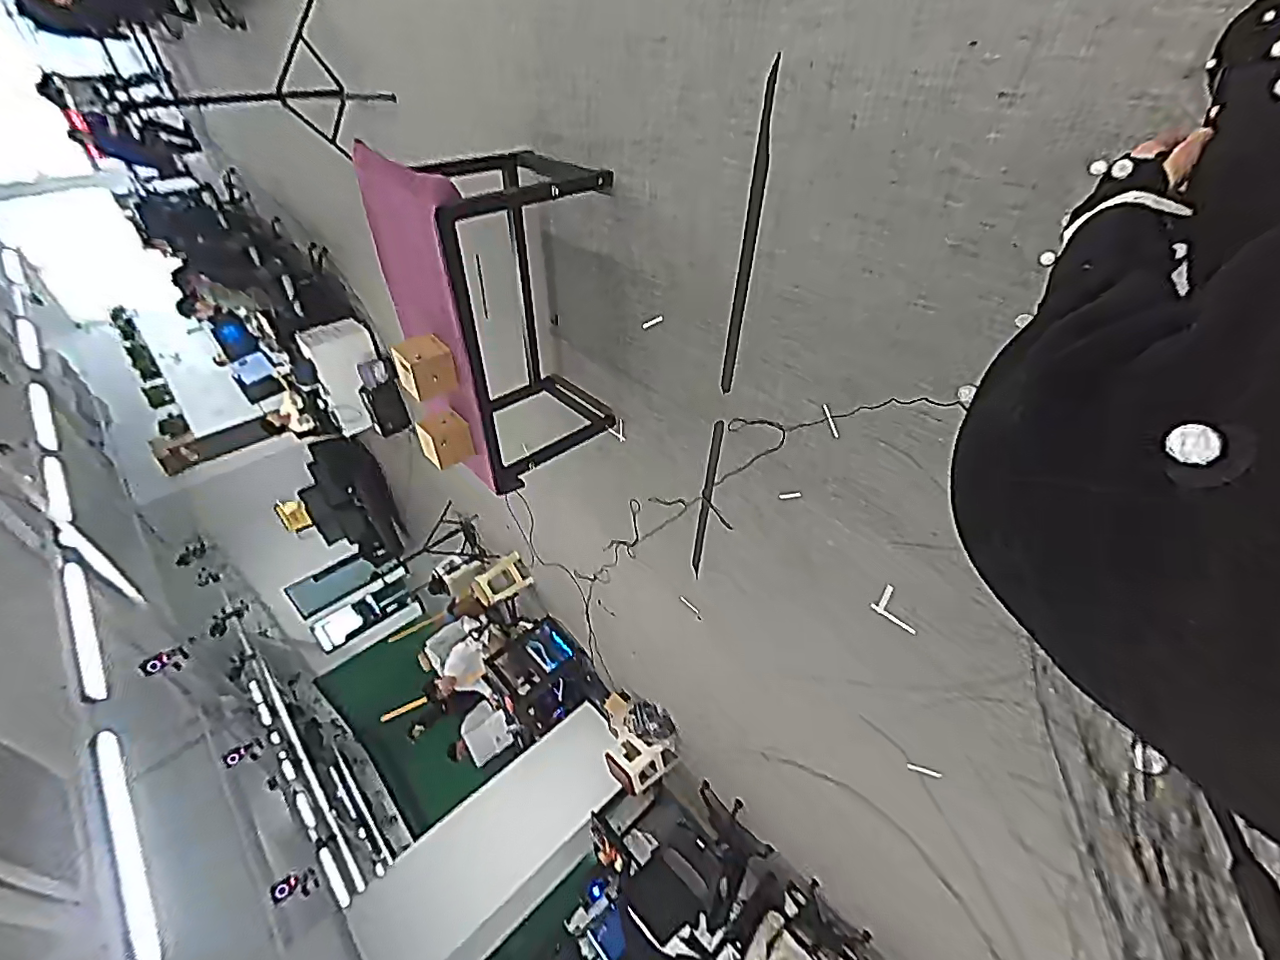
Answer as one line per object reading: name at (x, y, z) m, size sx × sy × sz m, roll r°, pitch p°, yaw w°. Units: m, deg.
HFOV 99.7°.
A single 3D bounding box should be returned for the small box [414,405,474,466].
small box at (-0.841, -0.198, 2.329) m, size 0.168 × 0.176 × 0.179 m, roll 36°, pitch 143°, yaw 35°
